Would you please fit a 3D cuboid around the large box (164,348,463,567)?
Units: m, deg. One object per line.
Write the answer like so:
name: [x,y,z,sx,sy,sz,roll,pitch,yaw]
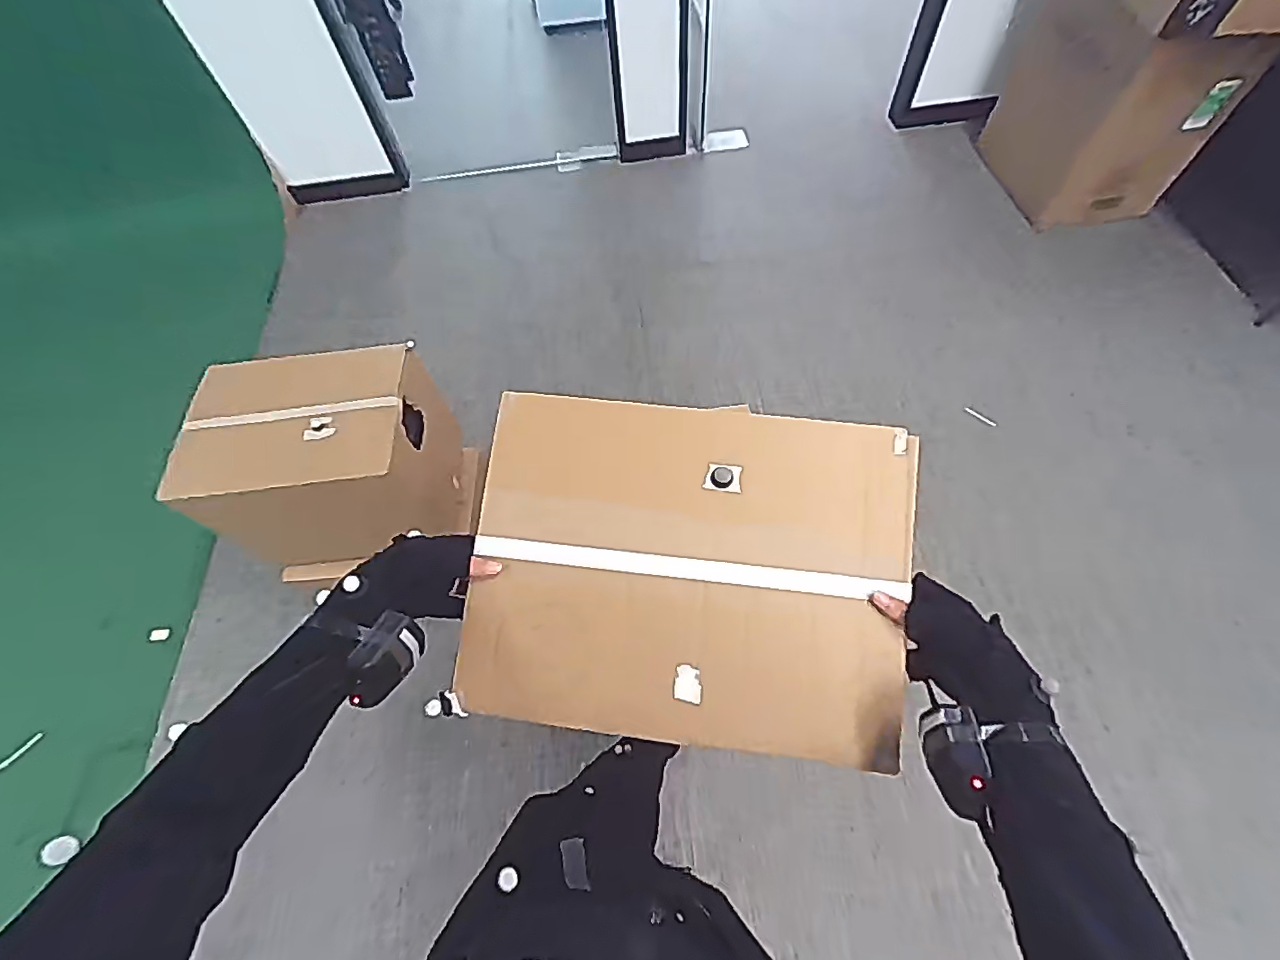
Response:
large box: [-0.628,-0.037,1.130,0.408,0.320,0.320,-6,58,-1]
